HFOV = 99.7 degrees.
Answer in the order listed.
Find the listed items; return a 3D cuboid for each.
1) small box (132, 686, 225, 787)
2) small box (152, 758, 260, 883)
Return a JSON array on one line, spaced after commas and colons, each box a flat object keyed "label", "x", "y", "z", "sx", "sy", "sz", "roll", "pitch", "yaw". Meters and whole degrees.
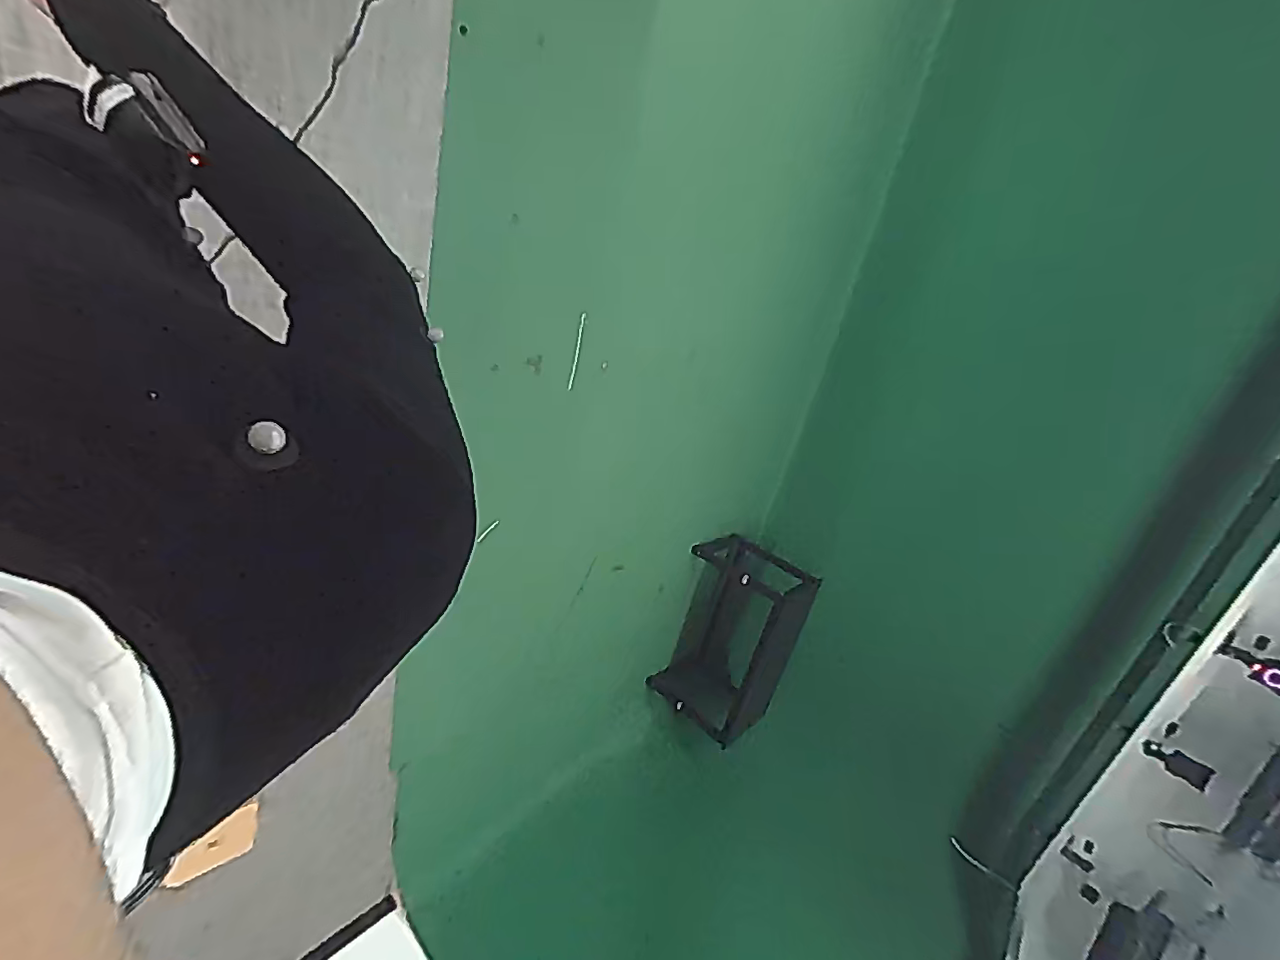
[{"label": "small box", "x": -1.336, "y": 0.731, "z": 1.565, "sx": 0.179, "sy": 0.176, "sz": 0.168, "roll": -4, "pitch": 117, "yaw": -49}, {"label": "small box", "x": -1.100, "y": 0.849, "z": 1.370, "sx": 0.179, "sy": 0.176, "sz": 0.168, "roll": -2, "pitch": 114, "yaw": -51}]
